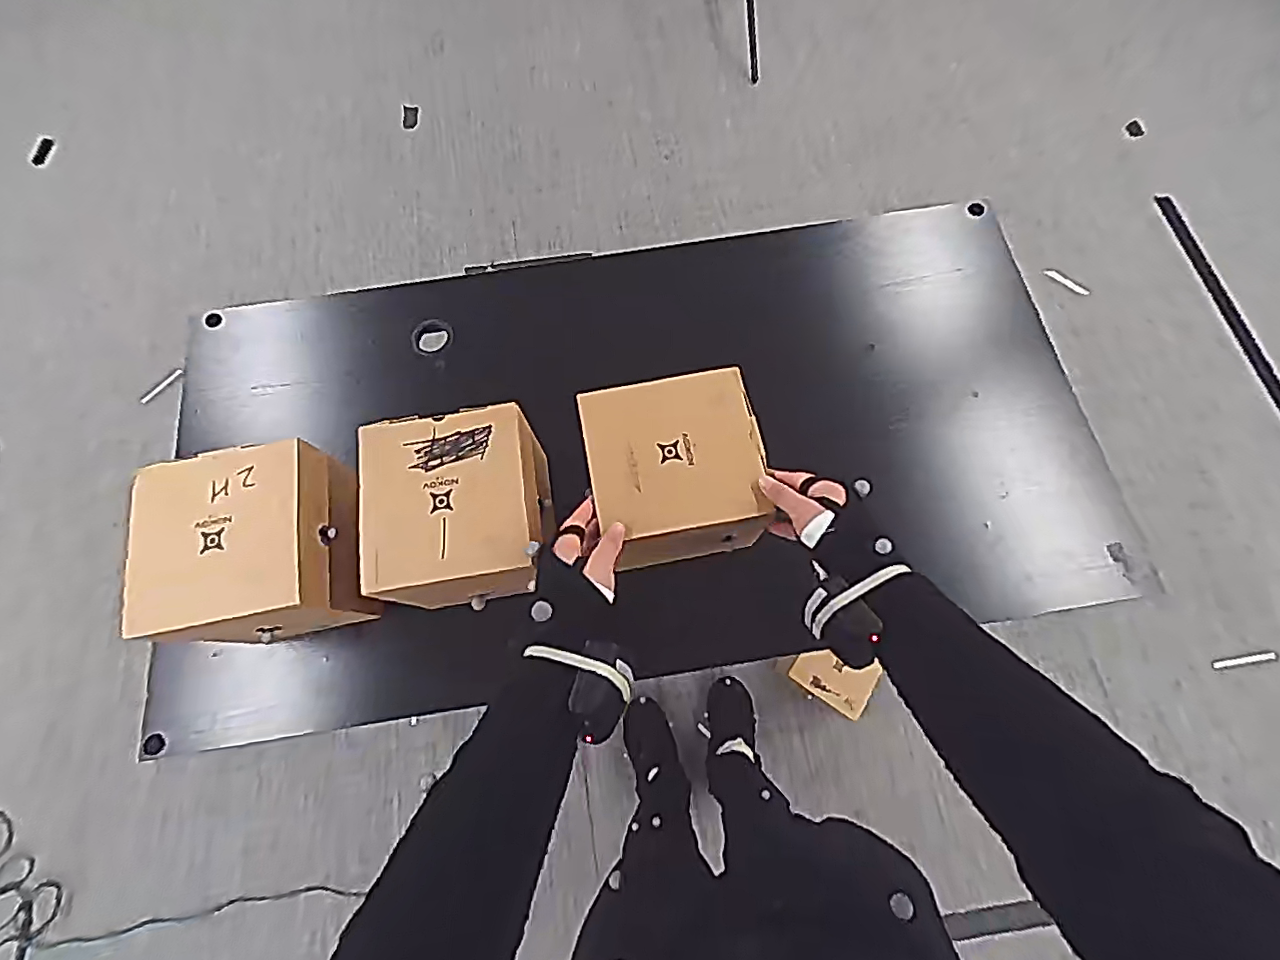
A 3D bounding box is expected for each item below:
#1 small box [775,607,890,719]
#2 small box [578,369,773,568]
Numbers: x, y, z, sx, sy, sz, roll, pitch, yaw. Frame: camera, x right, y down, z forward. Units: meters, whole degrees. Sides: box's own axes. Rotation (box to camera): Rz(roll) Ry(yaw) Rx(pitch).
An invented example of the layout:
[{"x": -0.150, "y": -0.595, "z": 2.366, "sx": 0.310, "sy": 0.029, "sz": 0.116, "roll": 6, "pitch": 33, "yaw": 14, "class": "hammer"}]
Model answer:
[{"x": 0.429, "y": 0.414, "z": 1.239, "sx": 0.168, "sy": 0.176, "sz": 0.179, "roll": 33, "pitch": 76, "yaw": 11, "class": "small box"}, {"x": 0.034, "y": -0.003, "z": 0.621, "sx": 0.179, "sy": 0.176, "sz": 0.168, "roll": -10, "pitch": 71, "yaw": -1, "class": "small box"}]
